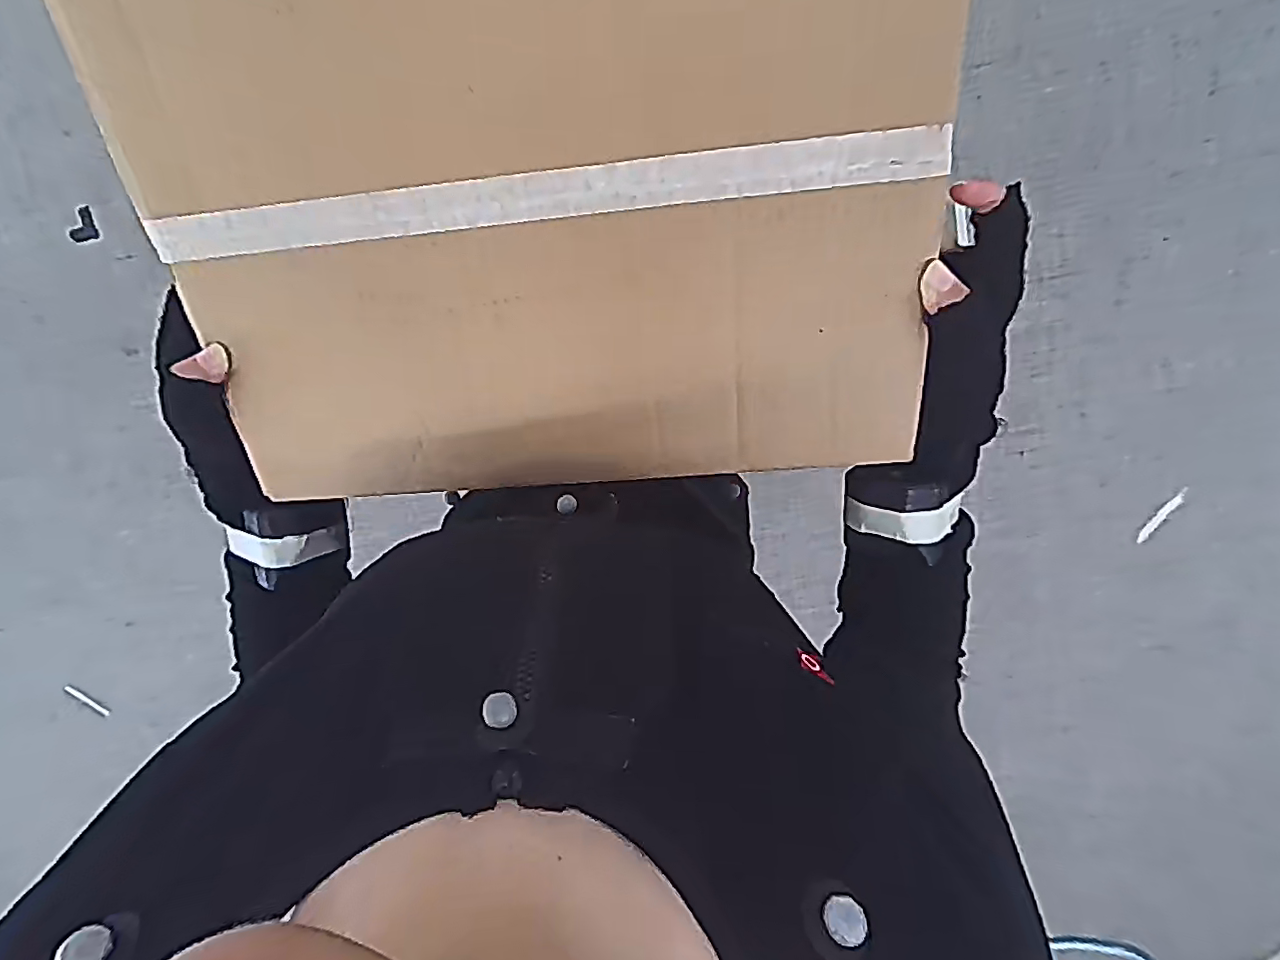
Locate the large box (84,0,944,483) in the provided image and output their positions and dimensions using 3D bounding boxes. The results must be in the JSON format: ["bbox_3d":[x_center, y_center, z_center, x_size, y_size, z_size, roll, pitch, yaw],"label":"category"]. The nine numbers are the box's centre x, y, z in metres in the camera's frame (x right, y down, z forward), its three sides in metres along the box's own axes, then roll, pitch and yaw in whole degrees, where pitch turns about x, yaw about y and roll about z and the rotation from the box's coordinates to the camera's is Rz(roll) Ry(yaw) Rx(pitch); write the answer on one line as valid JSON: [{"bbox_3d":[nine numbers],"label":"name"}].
[{"bbox_3d":[-0.051,-0.212,0.414,0.408,0.320,0.320,-4,115,5],"label":"large box"}]
